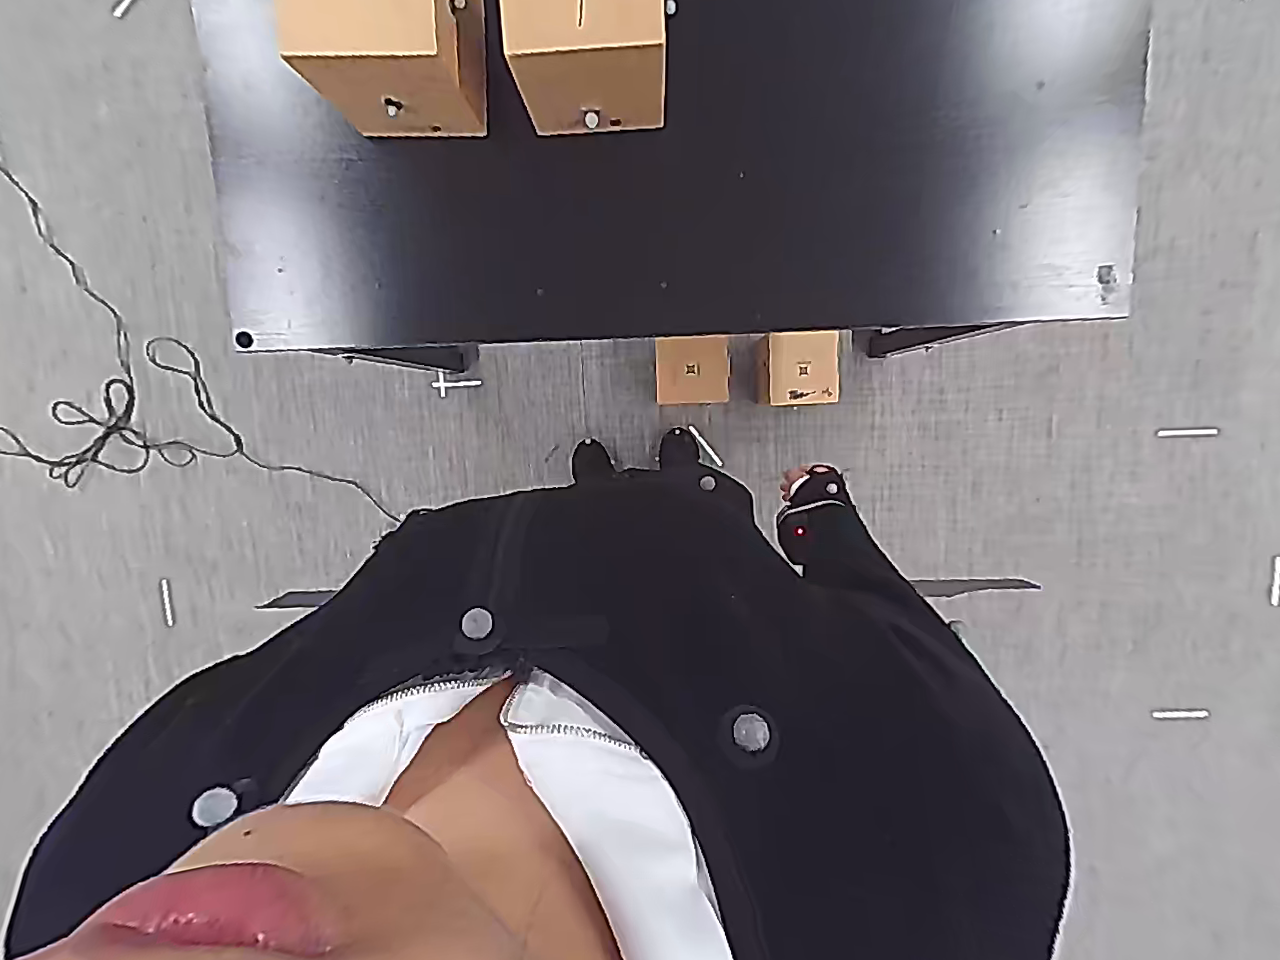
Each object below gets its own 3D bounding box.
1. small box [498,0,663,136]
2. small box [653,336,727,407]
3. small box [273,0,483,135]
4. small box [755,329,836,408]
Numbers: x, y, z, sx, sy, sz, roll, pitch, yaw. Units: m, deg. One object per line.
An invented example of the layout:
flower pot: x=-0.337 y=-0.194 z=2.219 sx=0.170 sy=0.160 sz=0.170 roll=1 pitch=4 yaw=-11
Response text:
small box: x=-0.061 y=-0.527 z=0.612 sx=0.168 sy=0.176 sz=0.179 roll=-2 pitch=98 yaw=2
small box: x=0.123 y=-0.271 z=1.375 sx=0.179 sy=0.176 sz=0.168 roll=-2 pitch=96 yaw=3
small box: x=-0.285 y=-0.524 z=0.619 sx=0.168 sy=0.176 sz=0.179 roll=1 pitch=97 yaw=1
small box: x=0.386 y=-0.275 z=1.364 sx=0.168 sy=0.176 sz=0.179 roll=-3 pitch=97 yaw=3
